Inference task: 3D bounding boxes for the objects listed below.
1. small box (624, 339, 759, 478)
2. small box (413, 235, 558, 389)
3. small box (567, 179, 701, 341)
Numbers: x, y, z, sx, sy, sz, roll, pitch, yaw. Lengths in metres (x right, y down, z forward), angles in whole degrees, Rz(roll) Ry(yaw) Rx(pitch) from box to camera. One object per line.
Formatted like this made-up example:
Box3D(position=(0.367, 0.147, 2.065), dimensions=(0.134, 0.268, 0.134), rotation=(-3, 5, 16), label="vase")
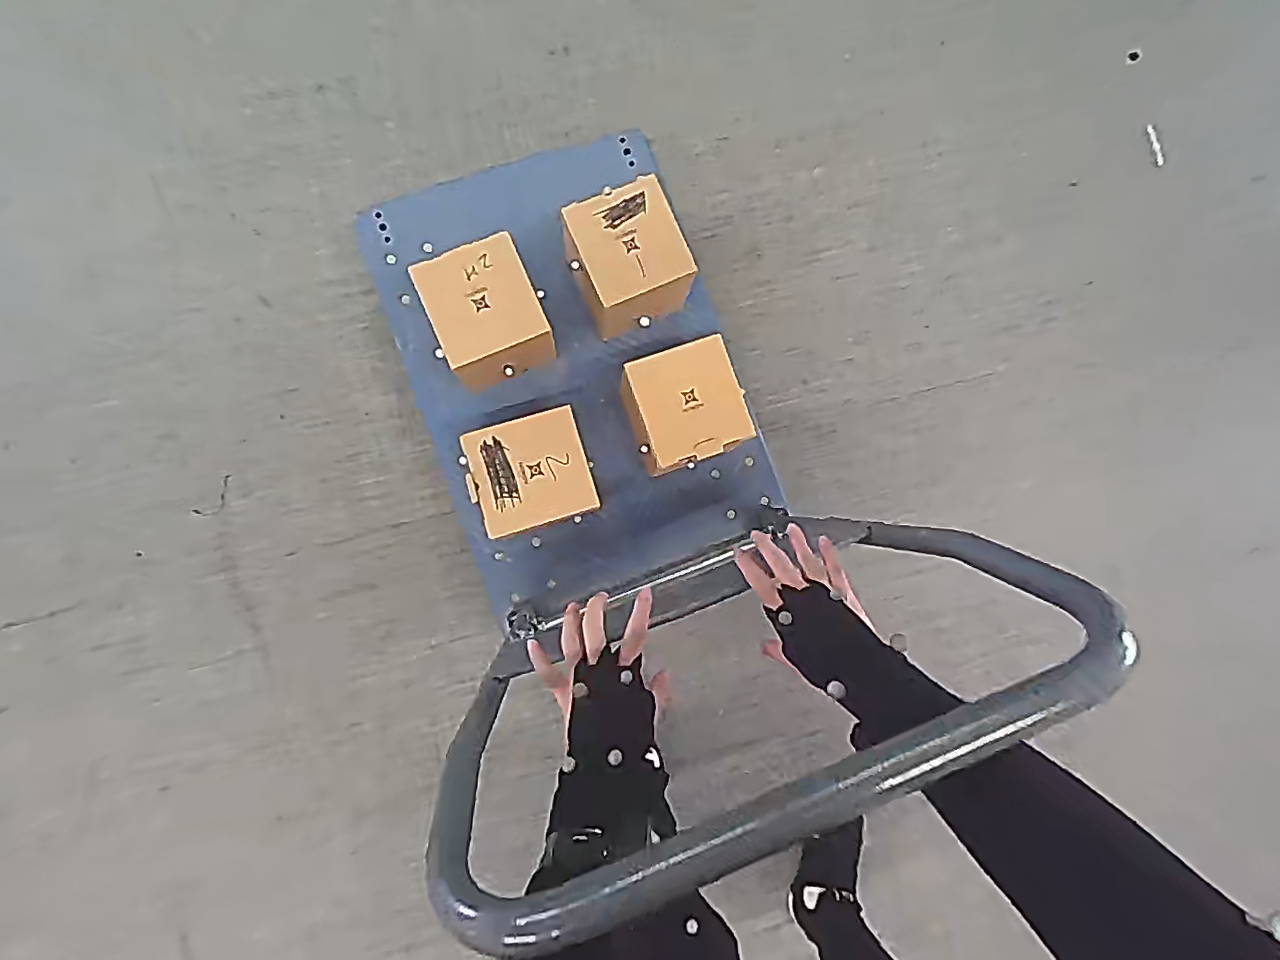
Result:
Box3D(position=(0.077, -0.114, 0.925), dimensions=(0.168, 0.176, 0.179), rotation=(-19, 88, -6), label="small box")
Box3D(position=(-0.246, -0.266, 0.908), dimensions=(0.168, 0.176, 0.179), rotation=(-23, 88, -6), label="small box")
Box3D(position=(-0.016, -0.368, 0.934), dimensions=(0.168, 0.176, 0.179), rotation=(-23, 89, -5), label="small box")
